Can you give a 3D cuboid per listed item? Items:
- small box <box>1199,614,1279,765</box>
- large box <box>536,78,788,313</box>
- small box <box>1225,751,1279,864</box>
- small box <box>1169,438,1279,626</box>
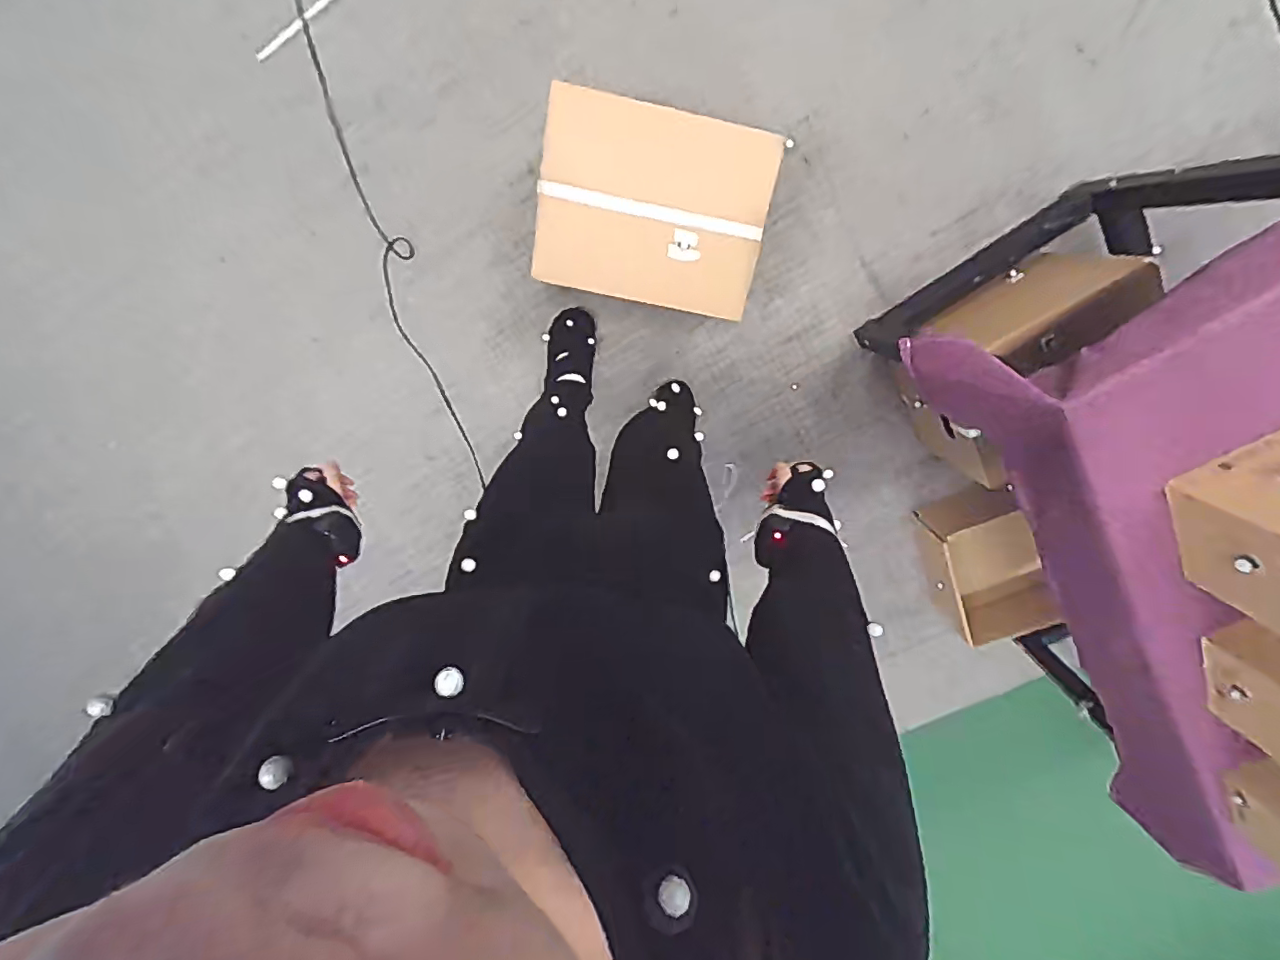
[{"bbox_3d":[0.954,0.293,0.756,0.179,0.176,0.168,-24,112,10],"label":"small box"},{"bbox_3d":[0.023,-0.543,1.084,0.408,0.320,0.320,9,114,-6],"label":"large box"},{"bbox_3d":[1.110,0.548,0.871,0.179,0.176,0.168,-29,111,10],"label":"small box"},{"bbox_3d":[0.797,0.064,0.648,0.168,0.176,0.179,-29,111,11],"label":"small box"}]
